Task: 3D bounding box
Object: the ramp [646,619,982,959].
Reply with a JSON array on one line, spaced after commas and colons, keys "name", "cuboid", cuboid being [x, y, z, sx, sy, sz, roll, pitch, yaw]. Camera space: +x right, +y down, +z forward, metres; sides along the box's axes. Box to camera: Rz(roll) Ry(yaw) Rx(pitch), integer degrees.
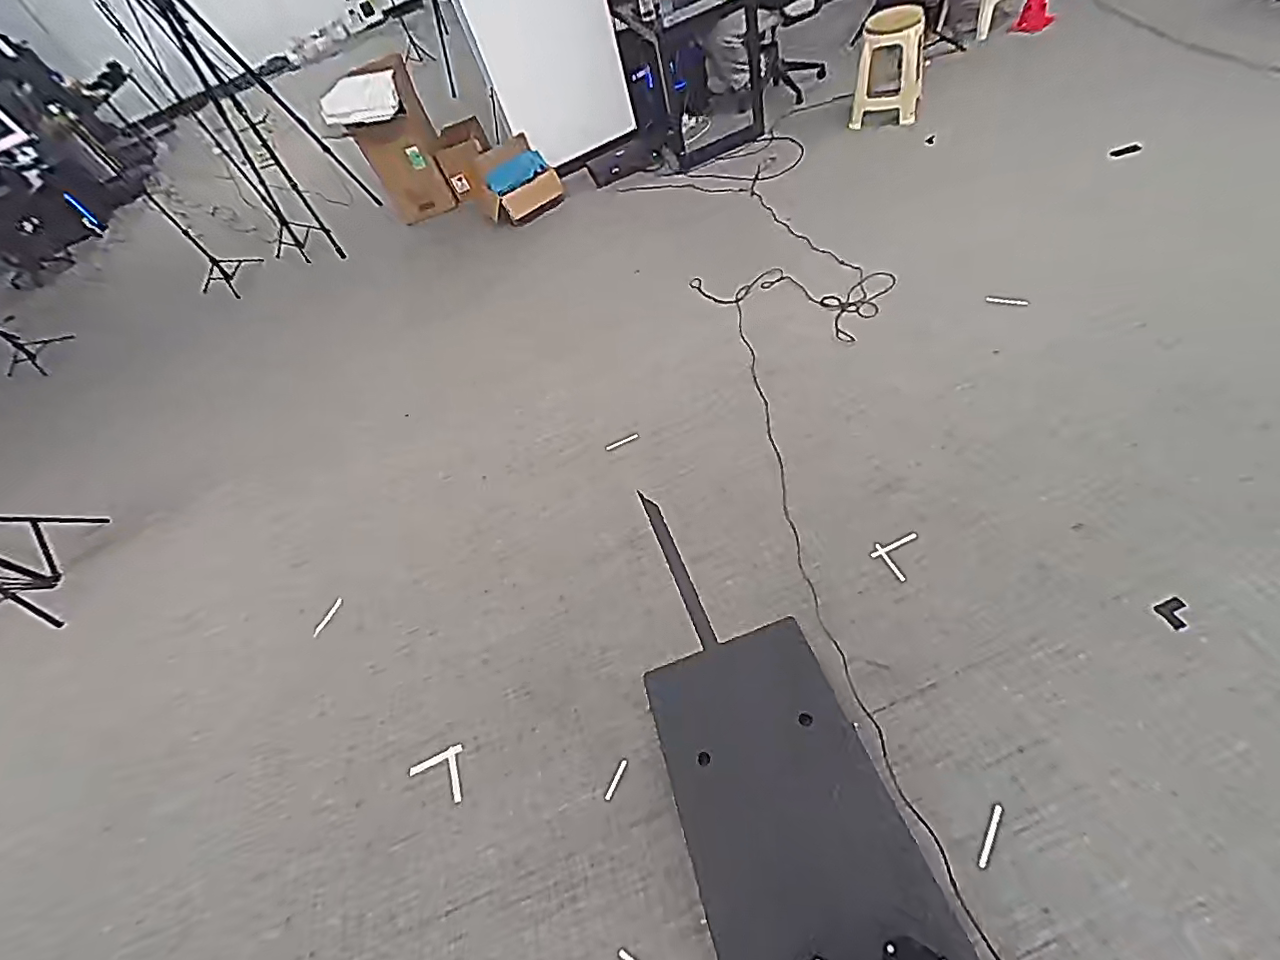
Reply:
[{"name": "ramp", "cuboid": [0.351, 0.814, 1.256, 0.509, 0.206, 0.991, -24, 51, 1]}]
